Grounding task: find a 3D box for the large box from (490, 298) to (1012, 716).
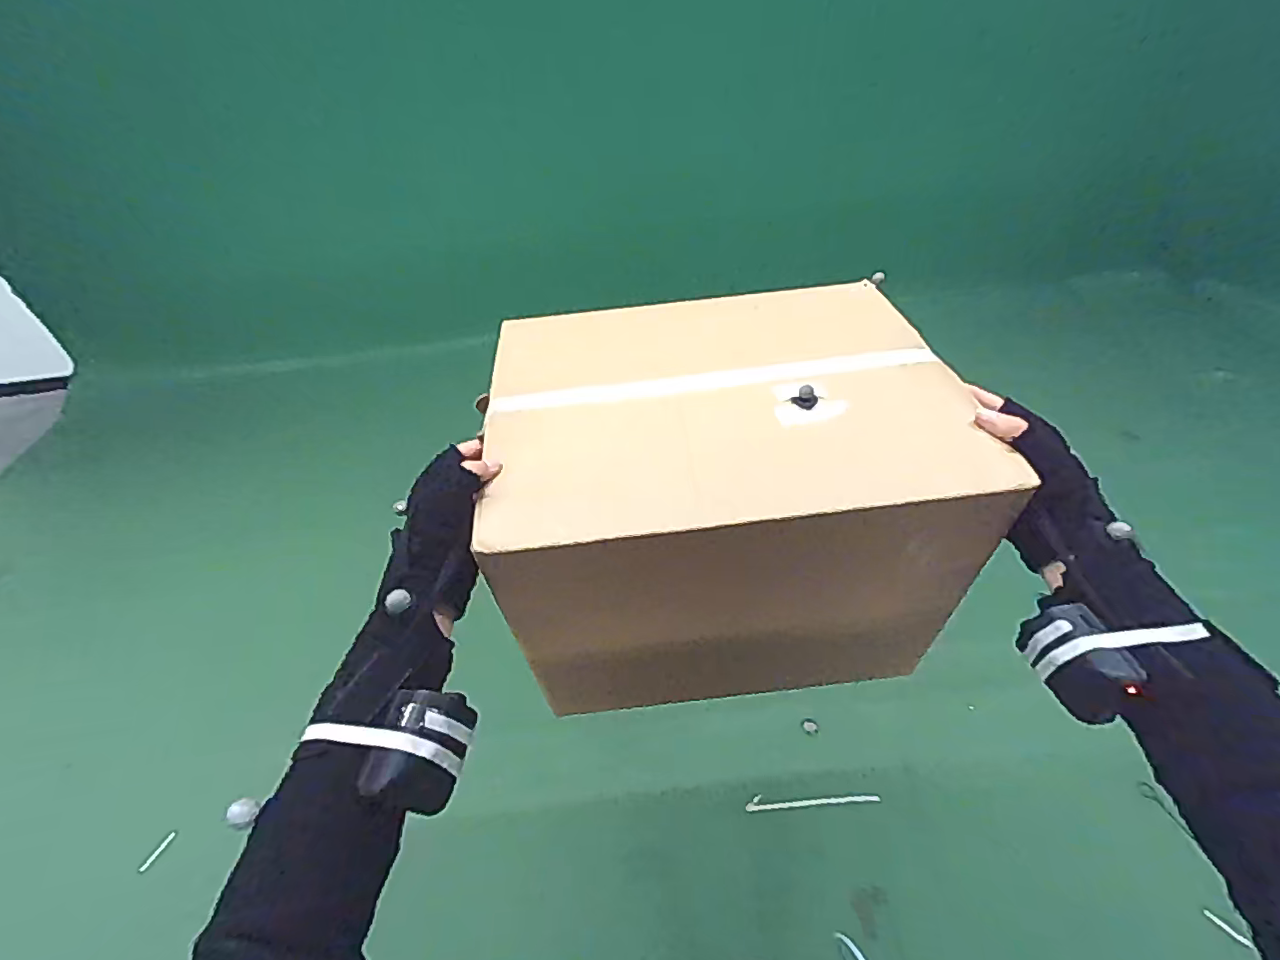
[{"bbox_3d":[0.075,0.029,0.604,0.408,0.320,0.320,-7,47,-2],"label":"large box"}]
